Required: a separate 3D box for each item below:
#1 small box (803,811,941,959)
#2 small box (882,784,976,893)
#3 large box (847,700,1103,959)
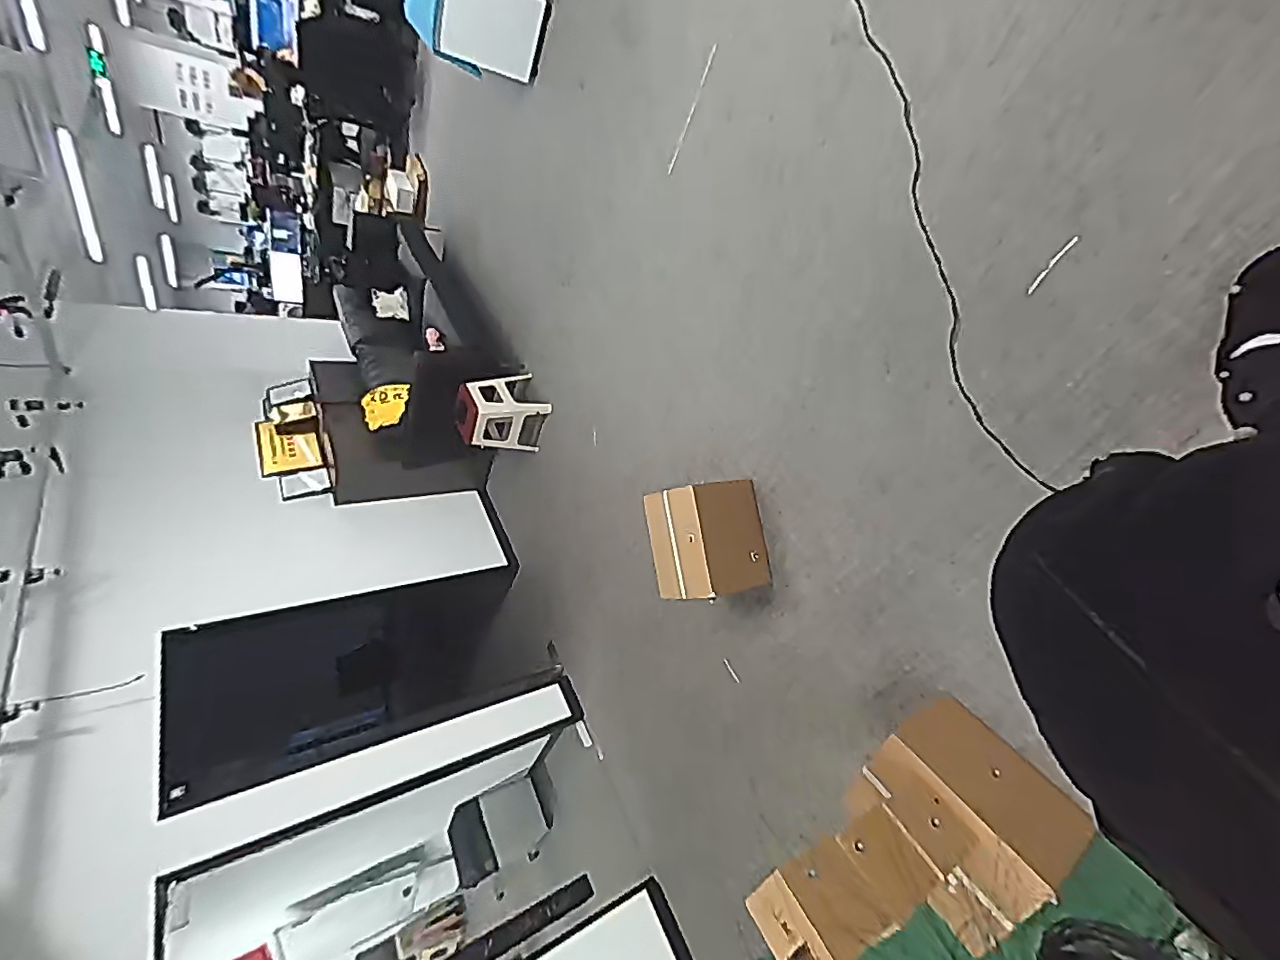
[{"bbox_3d":[0.494,0.855,1.150,0.179,0.176,0.168,51,132,38],"label":"small box"},{"bbox_3d":[0.628,0.838,1.239,0.168,0.176,0.179,50,132,39],"label":"small box"},{"bbox_3d":[0.832,0.857,1.380,0.408,0.320,0.320,42,128,41],"label":"large box"}]
